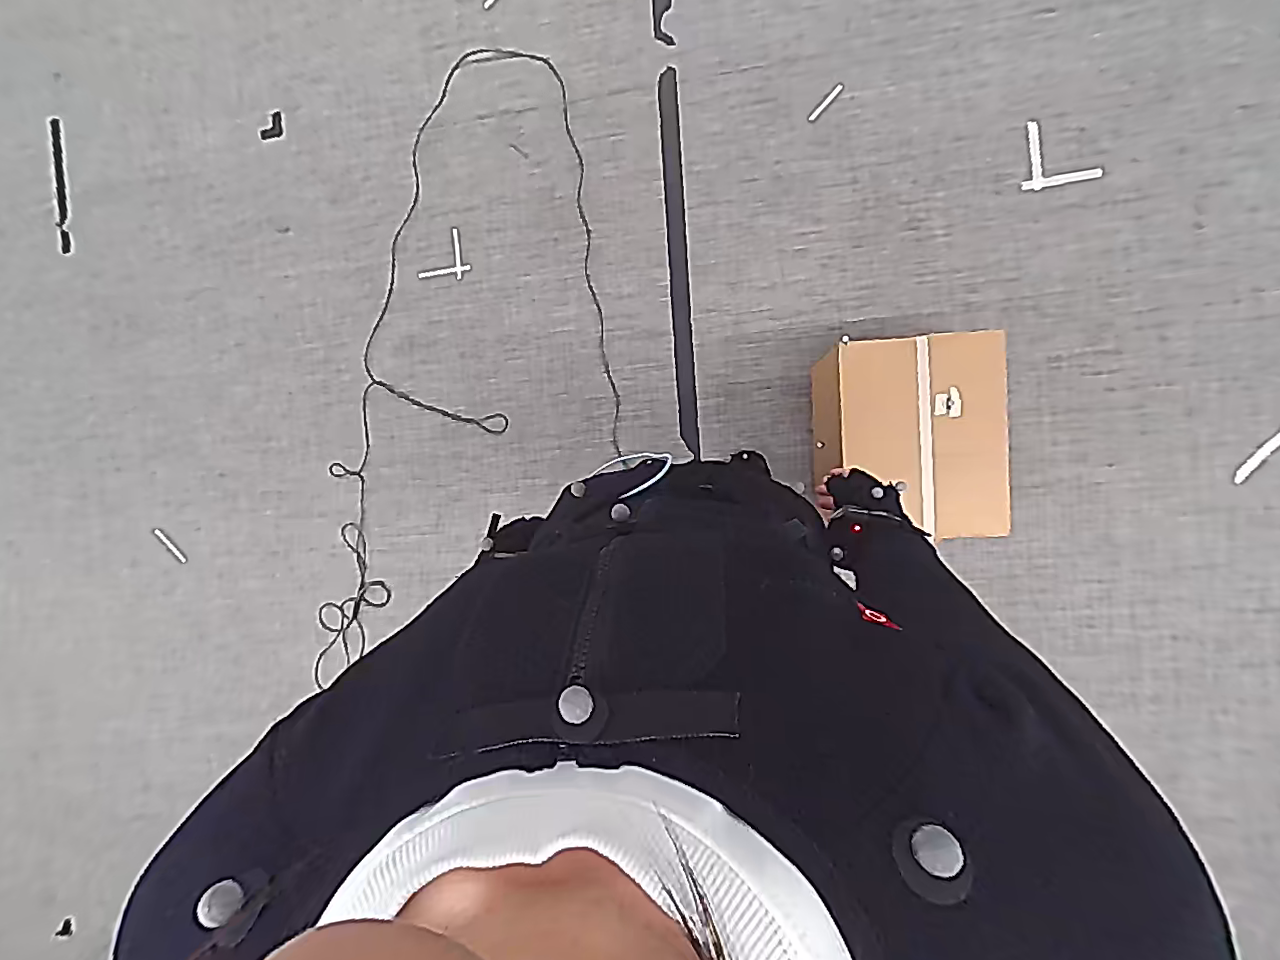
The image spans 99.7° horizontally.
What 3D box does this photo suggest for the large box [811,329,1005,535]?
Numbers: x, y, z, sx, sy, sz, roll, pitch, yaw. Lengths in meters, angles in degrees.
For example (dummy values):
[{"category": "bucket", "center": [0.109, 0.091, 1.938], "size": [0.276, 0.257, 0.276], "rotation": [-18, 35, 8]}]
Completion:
[{"category": "large box", "center": [0.582, -0.097, 1.237], "size": [0.320, 0.320, 0.408], "rotation": [-3, 91, 6]}]
